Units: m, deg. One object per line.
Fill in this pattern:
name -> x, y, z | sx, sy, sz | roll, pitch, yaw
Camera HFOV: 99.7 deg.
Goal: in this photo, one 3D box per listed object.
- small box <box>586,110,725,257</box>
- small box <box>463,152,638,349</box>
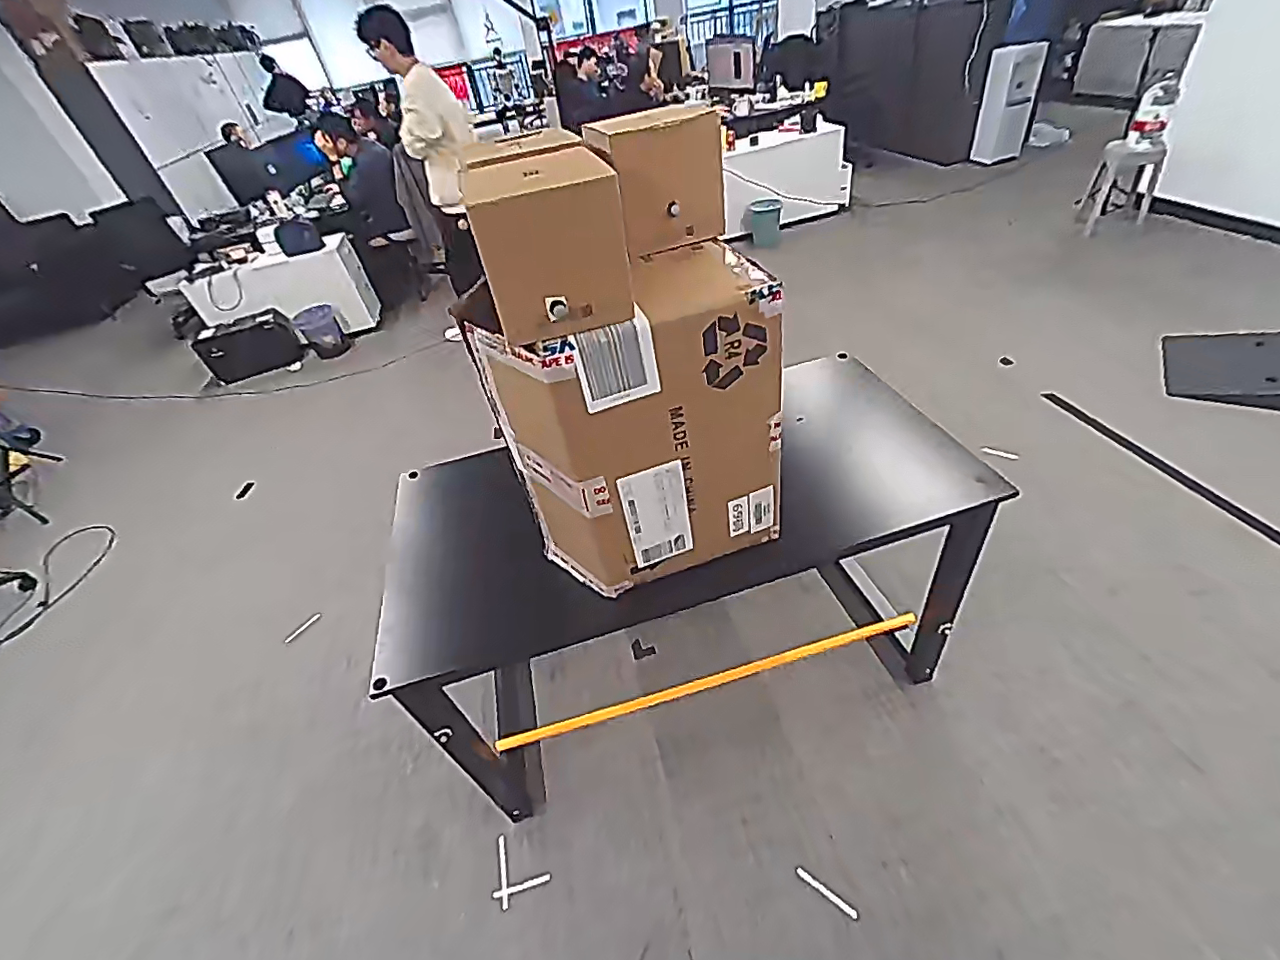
small box -> 0.025, -0.471, 0.860 | 0.168, 0.176, 0.179 | -18, 40, -8
small box -> -0.111, -0.289, 0.680 | 0.168, 0.176, 0.179 | -18, 43, -8
